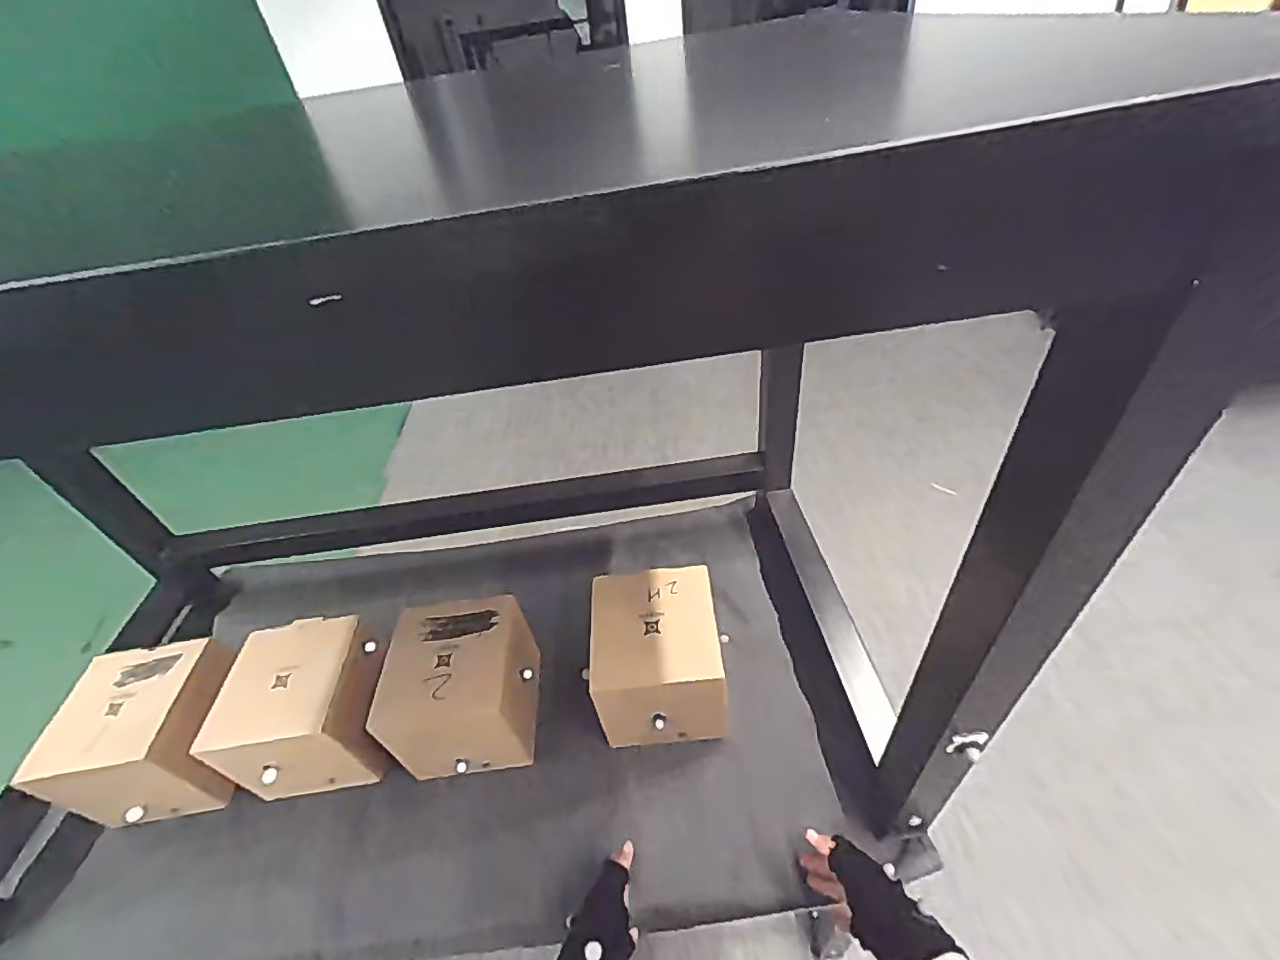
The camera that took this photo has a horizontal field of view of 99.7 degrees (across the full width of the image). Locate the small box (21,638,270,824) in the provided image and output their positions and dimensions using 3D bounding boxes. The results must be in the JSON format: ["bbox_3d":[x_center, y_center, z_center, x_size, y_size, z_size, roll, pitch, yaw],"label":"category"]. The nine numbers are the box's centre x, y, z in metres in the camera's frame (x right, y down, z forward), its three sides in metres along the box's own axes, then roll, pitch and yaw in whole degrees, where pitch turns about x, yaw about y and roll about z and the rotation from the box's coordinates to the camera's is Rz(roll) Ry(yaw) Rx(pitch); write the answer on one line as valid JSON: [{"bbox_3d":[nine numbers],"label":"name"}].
[{"bbox_3d":[-0.676,0.358,0.774,0.168,0.176,0.179,-10,41,0],"label":"small box"}]

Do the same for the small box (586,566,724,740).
[{"bbox_3d":[0.025,0.247,0.759,0.168,0.176,0.179,-6,41,4],"label":"small box"}]
